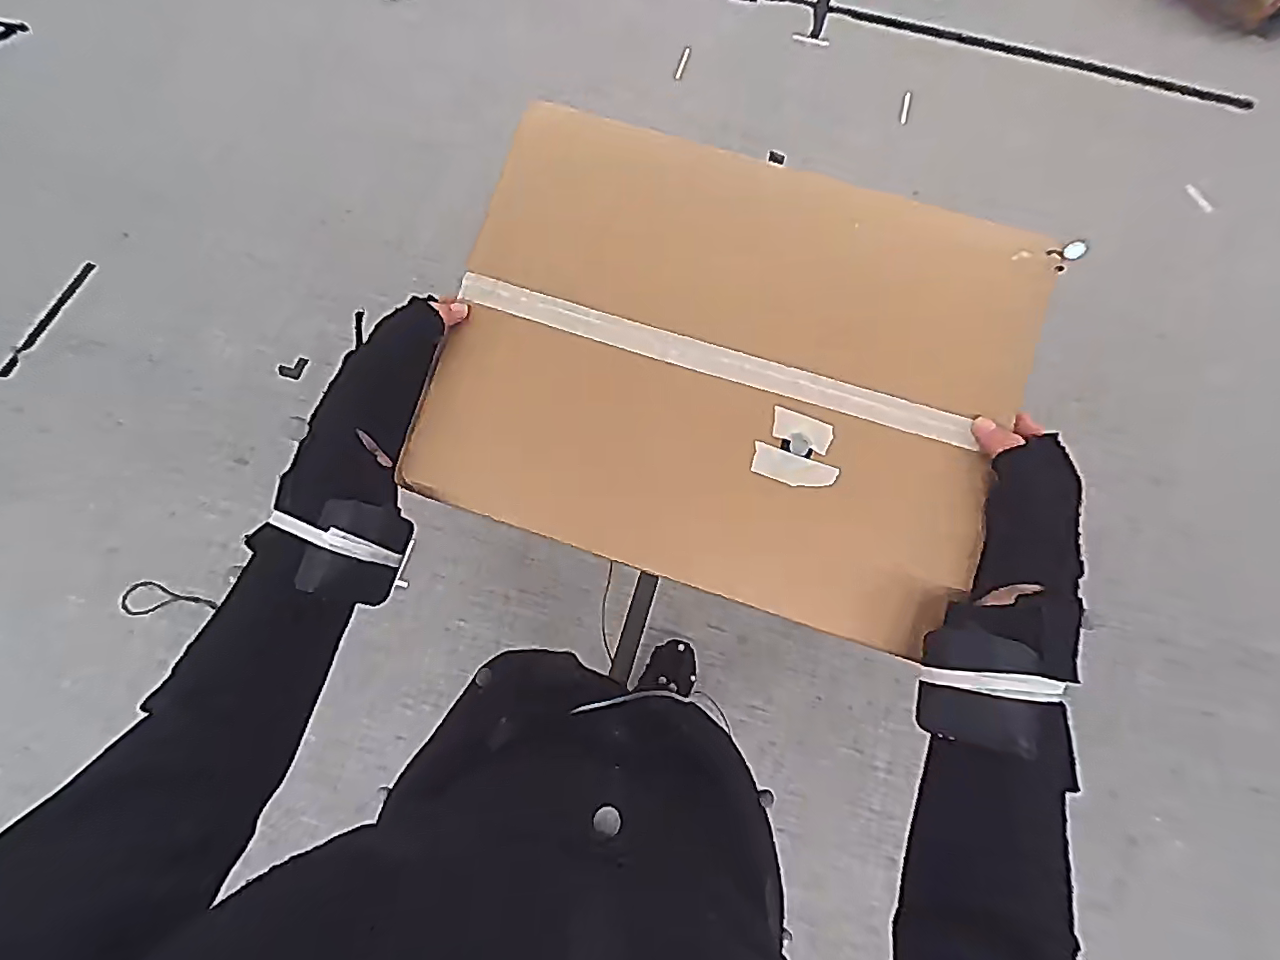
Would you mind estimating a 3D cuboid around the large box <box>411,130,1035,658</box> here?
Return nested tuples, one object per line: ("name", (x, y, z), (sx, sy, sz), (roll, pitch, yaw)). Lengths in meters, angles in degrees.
("large box", (0.064, -0.062, 0.548), (0.408, 0.320, 0.320), (18, 87, 3))
